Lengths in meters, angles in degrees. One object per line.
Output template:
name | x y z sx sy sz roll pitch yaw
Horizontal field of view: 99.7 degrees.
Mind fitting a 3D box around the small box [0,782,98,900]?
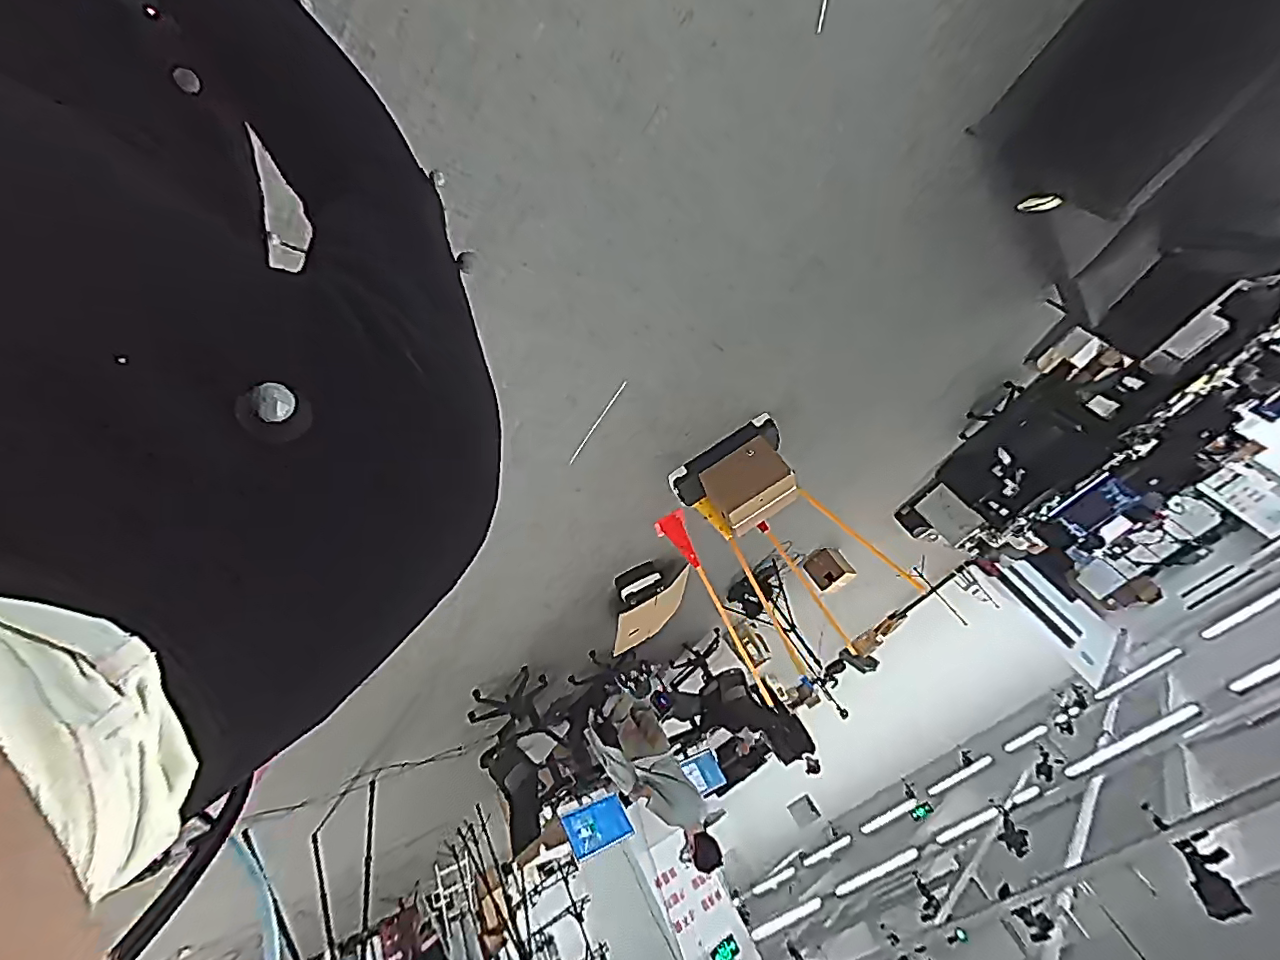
small box | -1.414 0.841 1.262 0.168 0.176 0.179 -46 146 20
